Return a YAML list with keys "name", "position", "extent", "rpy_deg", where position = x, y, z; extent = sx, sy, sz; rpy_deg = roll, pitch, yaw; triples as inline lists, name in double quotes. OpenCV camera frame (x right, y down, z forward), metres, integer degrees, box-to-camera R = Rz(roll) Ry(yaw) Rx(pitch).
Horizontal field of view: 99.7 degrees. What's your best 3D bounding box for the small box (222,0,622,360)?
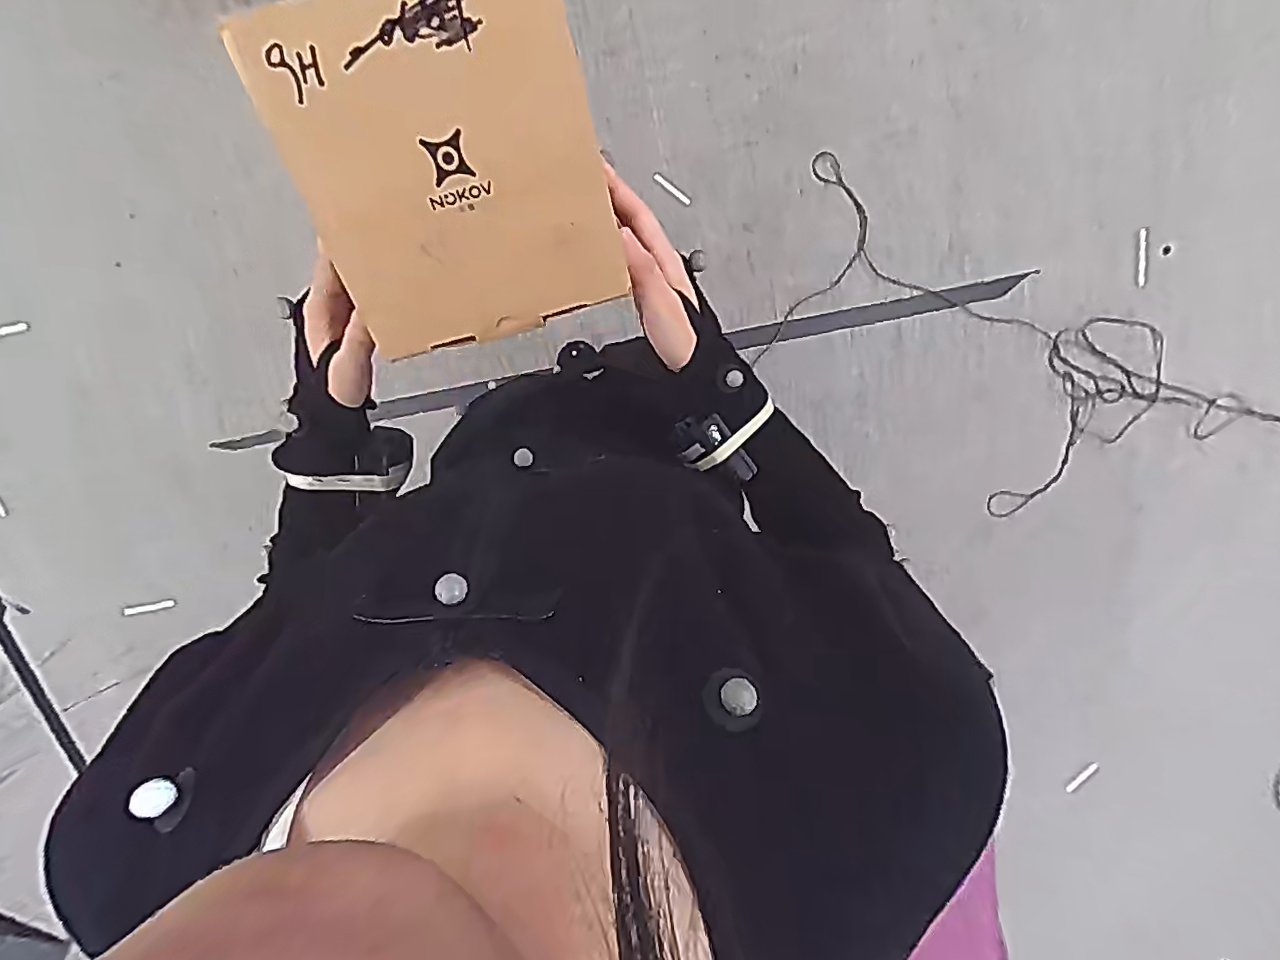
- name: "small box"
  position: [-0.115, -0.207, 0.371]
  extent: [0.168, 0.176, 0.179]
  rpy_deg: [-15, 121, 0]
